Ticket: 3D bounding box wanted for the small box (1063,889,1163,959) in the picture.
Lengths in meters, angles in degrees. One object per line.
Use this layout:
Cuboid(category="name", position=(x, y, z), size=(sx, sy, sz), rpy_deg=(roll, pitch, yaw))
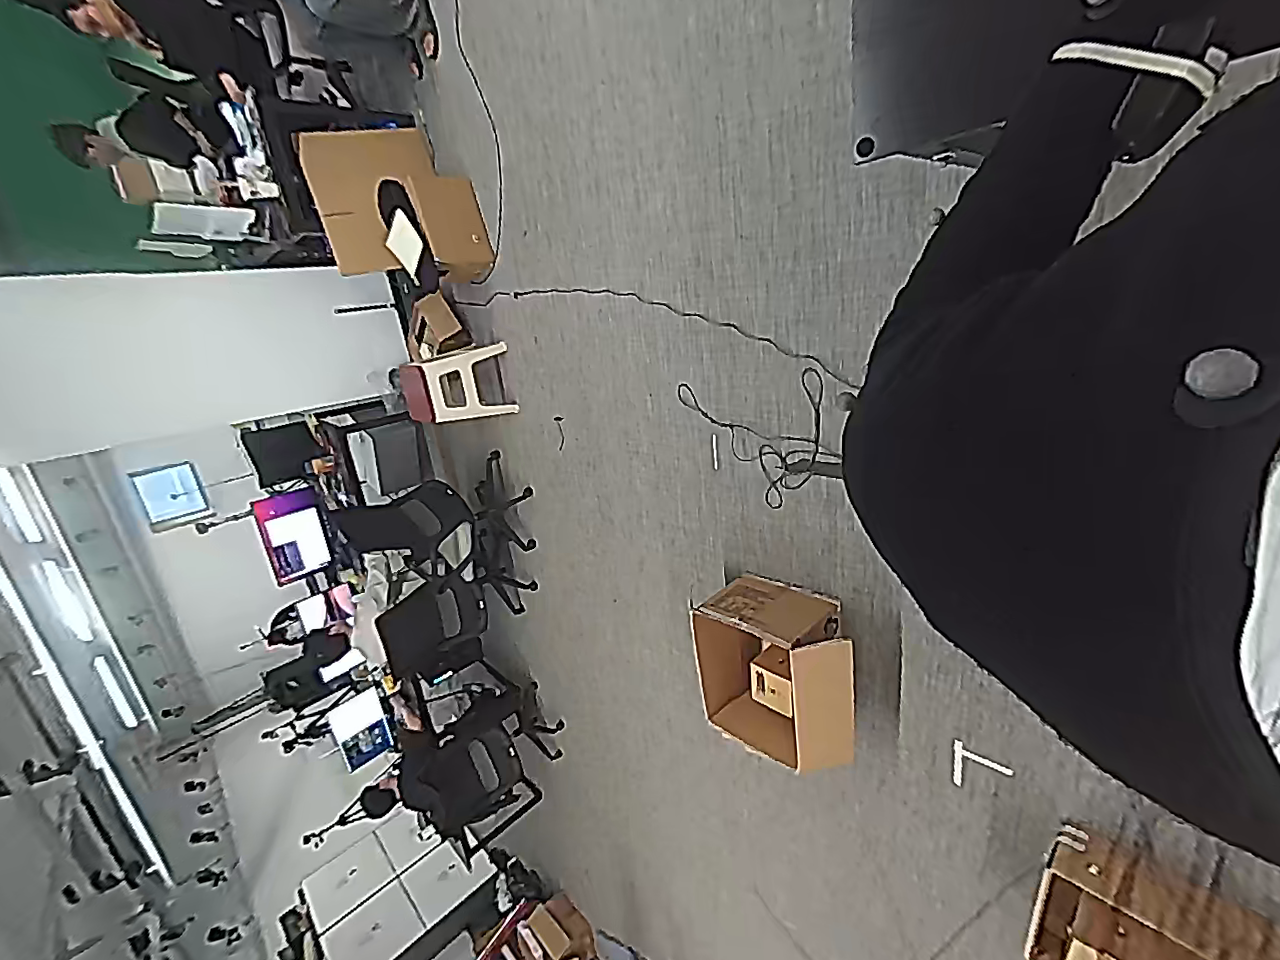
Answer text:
Cuboid(category="small box", position=(1.226, 1.229, 1.405), size=(0.168, 0.176, 0.179), rpy_deg=(17, 118, 43))
